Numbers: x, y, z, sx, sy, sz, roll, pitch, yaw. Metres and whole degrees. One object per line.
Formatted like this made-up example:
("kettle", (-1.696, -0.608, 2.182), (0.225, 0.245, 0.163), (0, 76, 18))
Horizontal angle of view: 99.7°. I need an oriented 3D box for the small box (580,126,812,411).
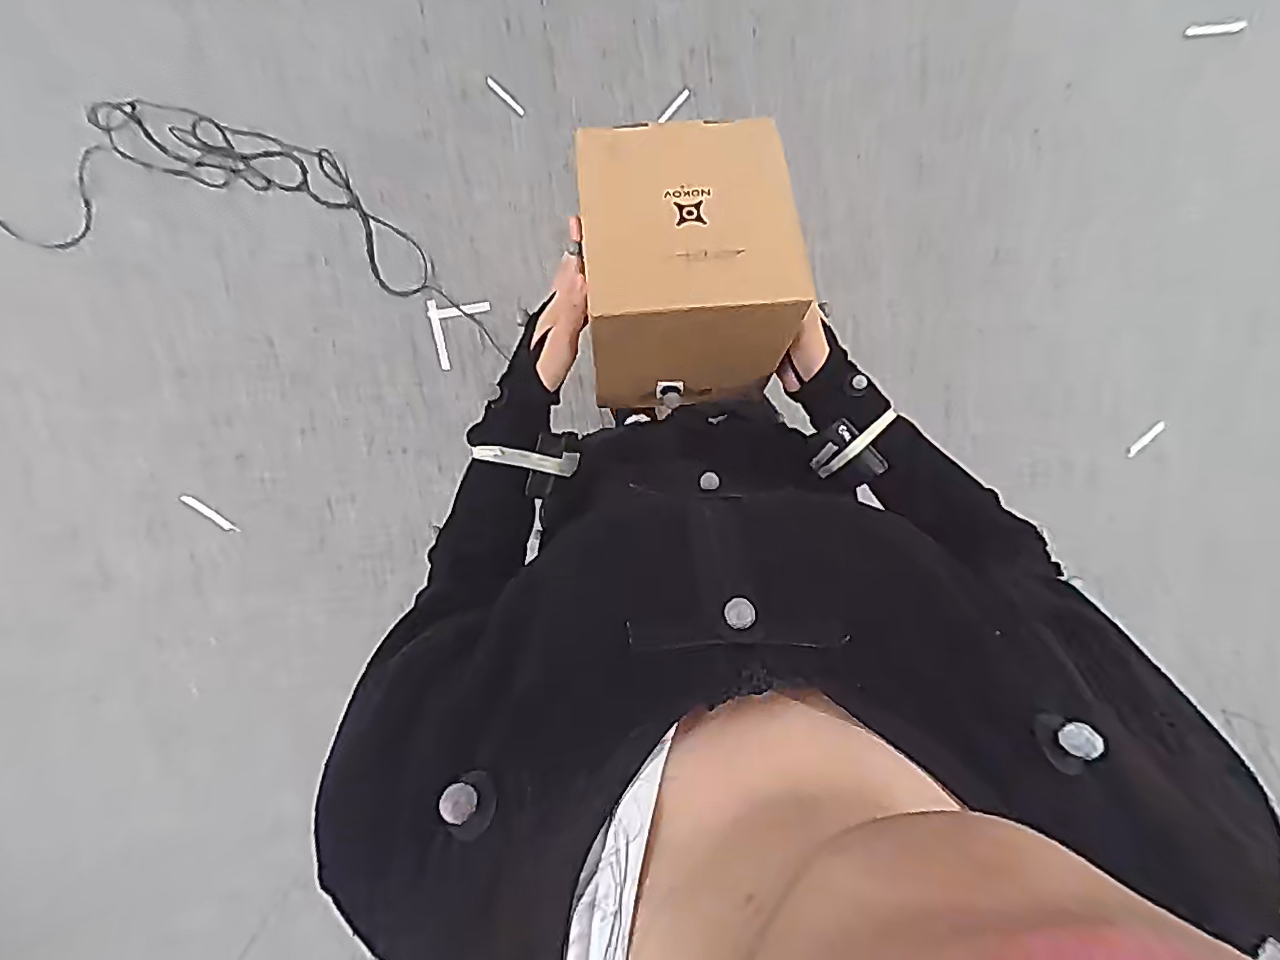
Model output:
("small box", (0.035, -0.180, 0.492), (0.168, 0.176, 0.179), (-5, 73, -3))
